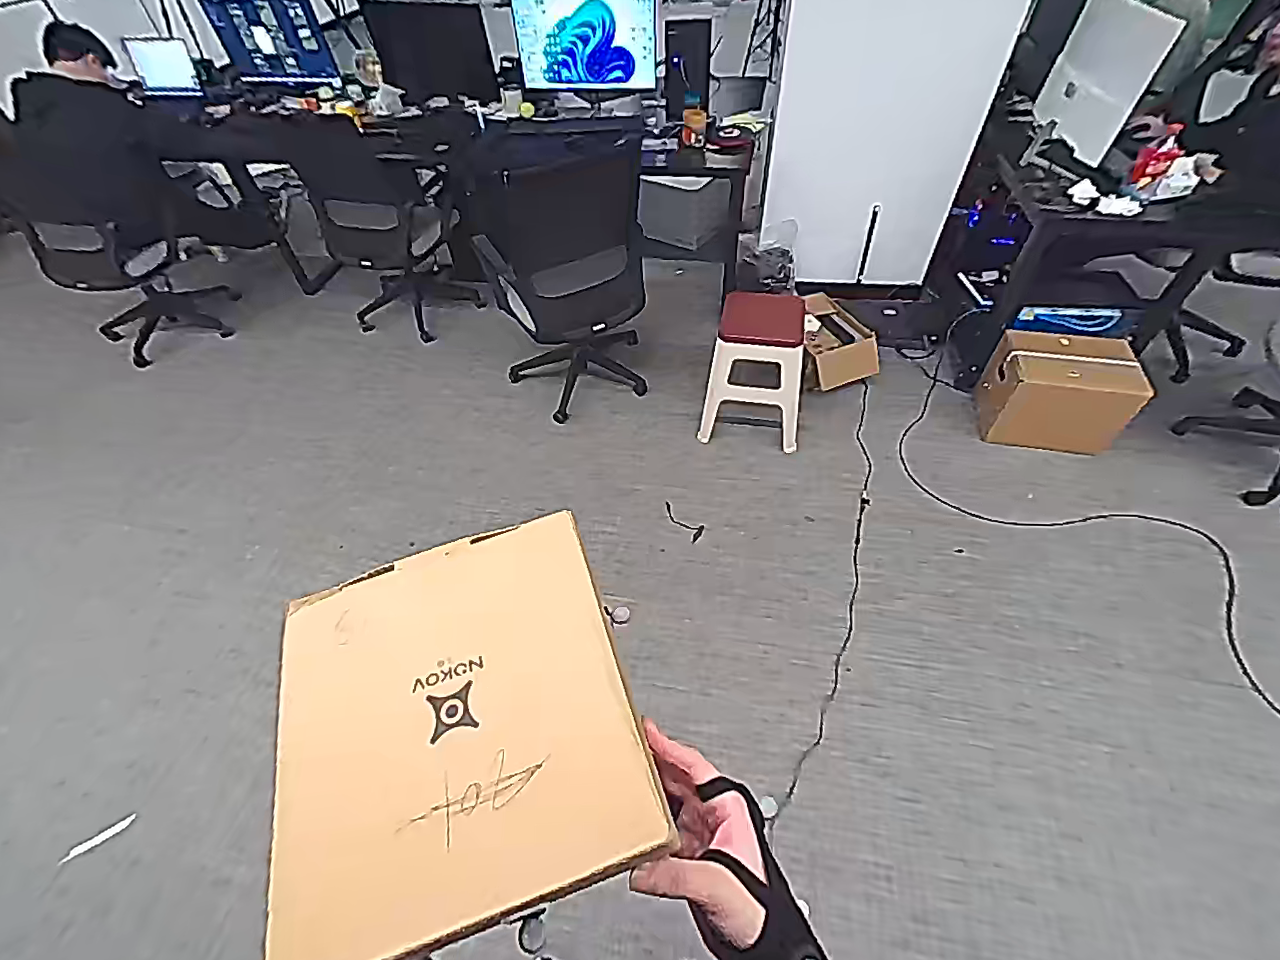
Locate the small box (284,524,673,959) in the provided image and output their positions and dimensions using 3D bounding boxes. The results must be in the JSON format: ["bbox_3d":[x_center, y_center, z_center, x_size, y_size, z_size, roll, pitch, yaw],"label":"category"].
[{"bbox_3d":[-0.085,0.161,0.339,0.168,0.176,0.179,-19,56,-7],"label":"small box"}]
